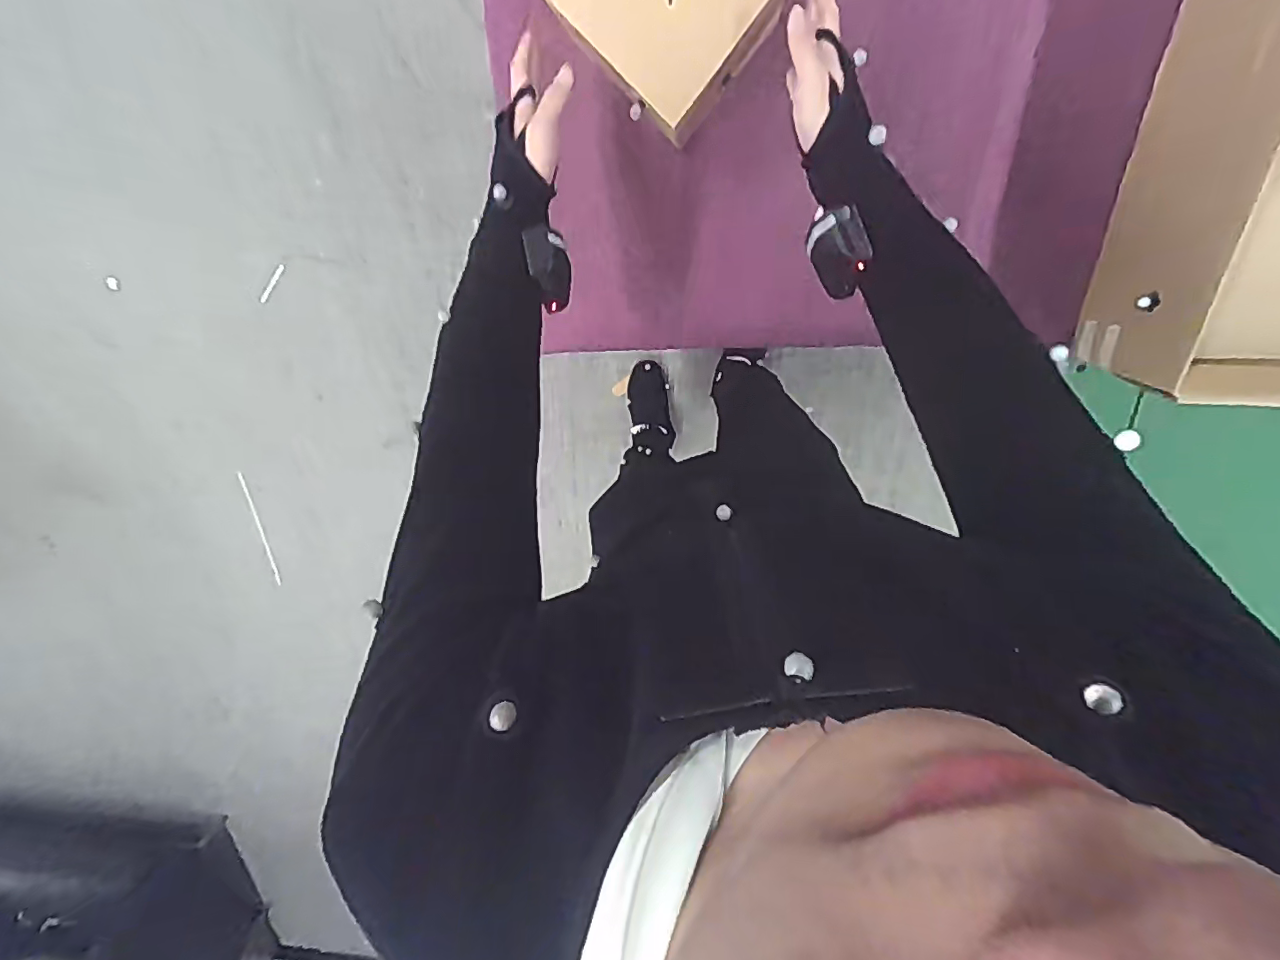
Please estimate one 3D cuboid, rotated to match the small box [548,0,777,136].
[{"bbox_3d":[0.030,-0.493,0.562,0.179,0.176,0.168,40,113,-12],"label":"small box"}]
